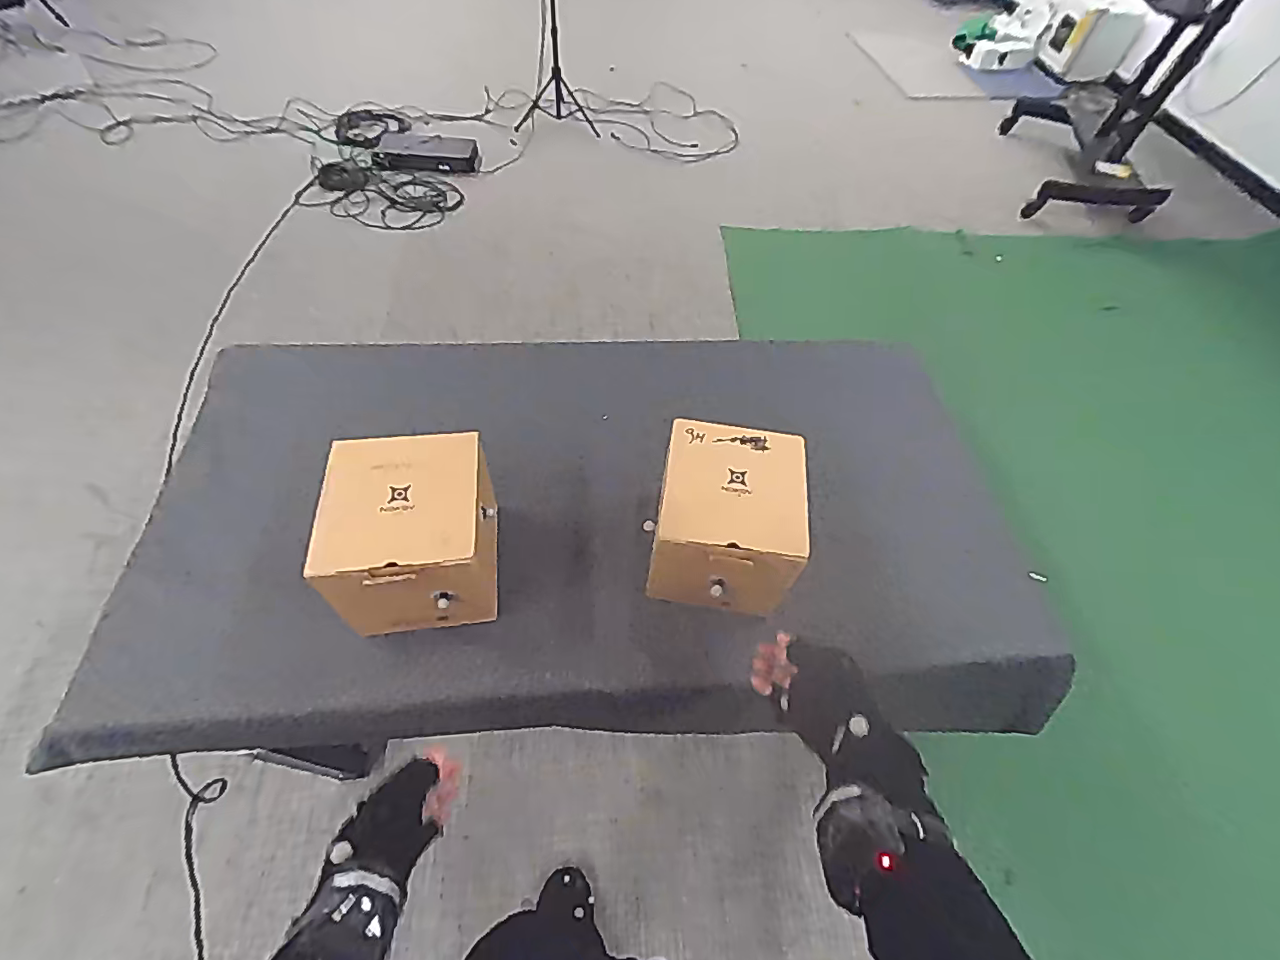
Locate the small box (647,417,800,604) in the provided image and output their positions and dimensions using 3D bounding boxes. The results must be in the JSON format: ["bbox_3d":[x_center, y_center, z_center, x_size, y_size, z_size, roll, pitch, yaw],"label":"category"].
[{"bbox_3d":[0.102,0.047,0.704,0.168,0.176,0.179,8,57,1],"label":"small box"}]

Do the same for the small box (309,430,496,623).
[{"bbox_3d":[-0.271,0.063,0.661,0.168,0.176,0.179,-5,54,-10],"label":"small box"}]
